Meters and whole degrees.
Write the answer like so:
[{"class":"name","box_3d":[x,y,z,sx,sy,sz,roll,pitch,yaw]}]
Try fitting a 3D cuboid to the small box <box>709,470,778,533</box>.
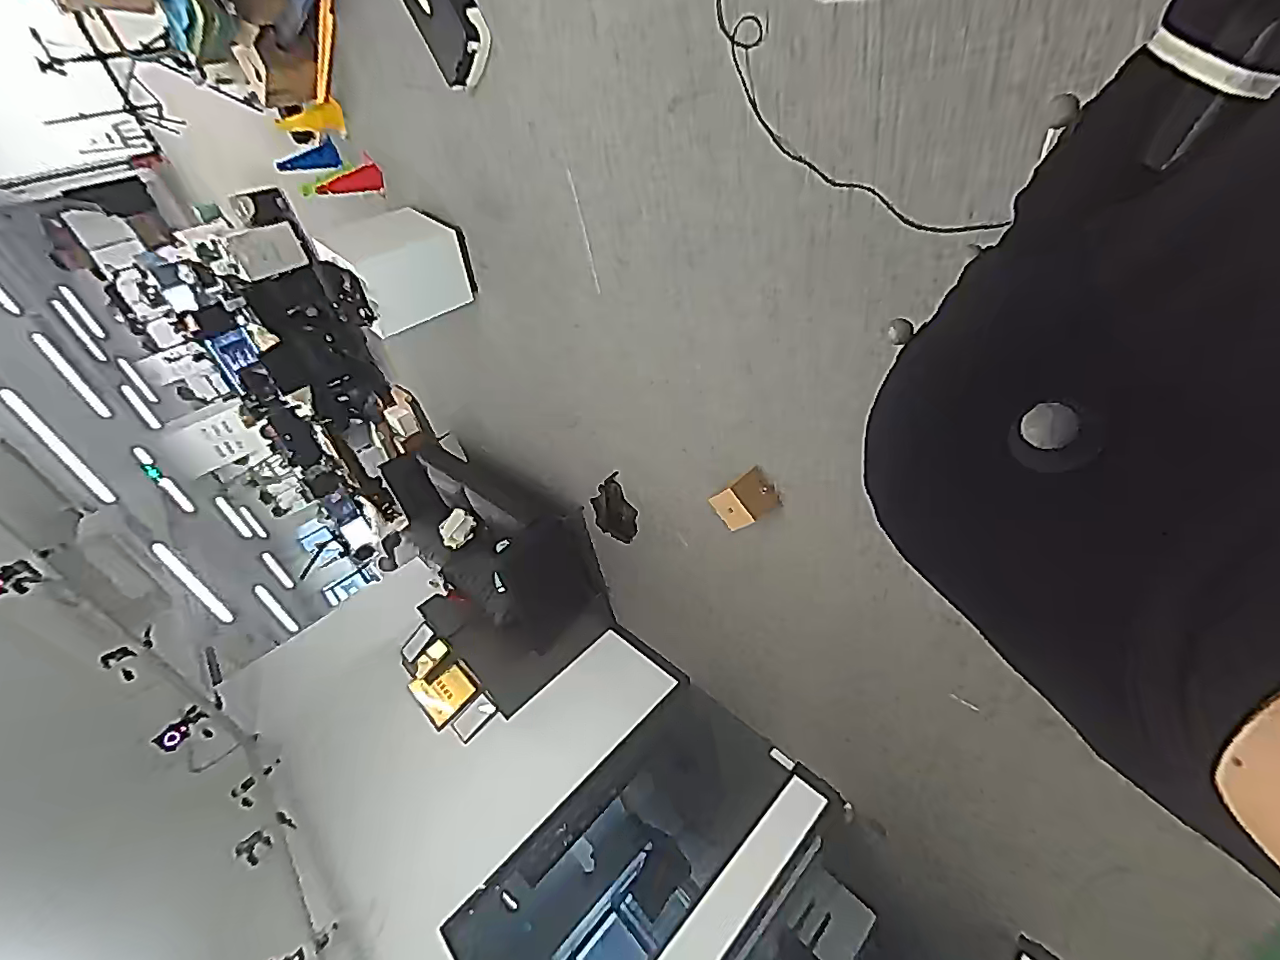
[{"class":"small box","box_3d":[0.417,0.085,2.171,0.168,0.176,0.179,52,151,1]}]
